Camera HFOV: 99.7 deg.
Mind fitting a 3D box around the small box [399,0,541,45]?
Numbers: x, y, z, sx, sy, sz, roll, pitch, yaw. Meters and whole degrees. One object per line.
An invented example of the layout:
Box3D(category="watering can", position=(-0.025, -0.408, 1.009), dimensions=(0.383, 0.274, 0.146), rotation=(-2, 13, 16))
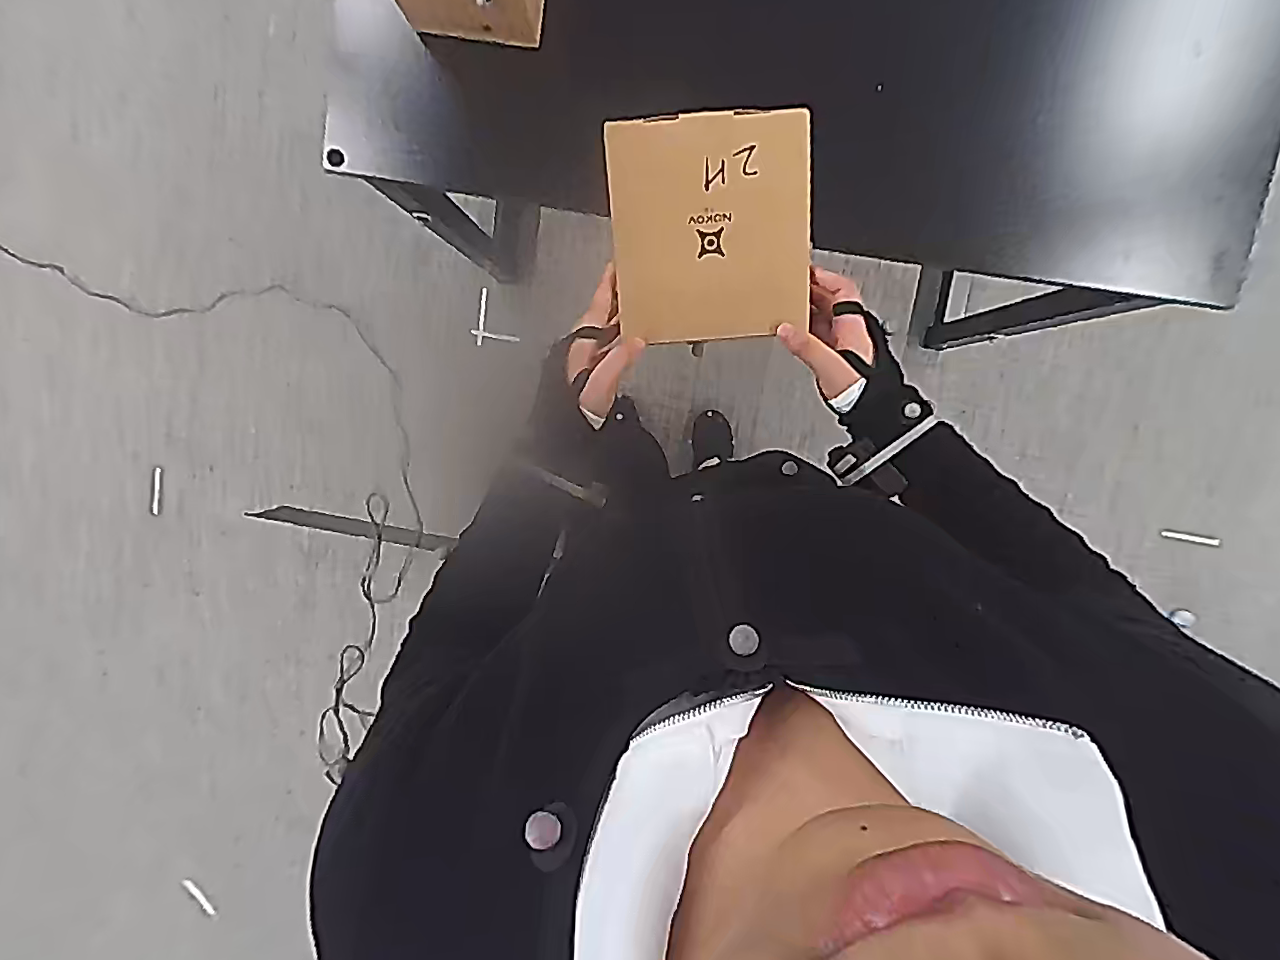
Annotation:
Box3D(category="small box", position=(-0.202, -0.635, 0.600), dimensions=(0.168, 0.176, 0.179), rotation=(8, 97, 0))

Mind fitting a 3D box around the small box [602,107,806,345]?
Box3D(category="small box", position=(0.055, -0.227, 0.528), dimensions=(0.168, 0.176, 0.179), rotation=(-4, 103, 0))
